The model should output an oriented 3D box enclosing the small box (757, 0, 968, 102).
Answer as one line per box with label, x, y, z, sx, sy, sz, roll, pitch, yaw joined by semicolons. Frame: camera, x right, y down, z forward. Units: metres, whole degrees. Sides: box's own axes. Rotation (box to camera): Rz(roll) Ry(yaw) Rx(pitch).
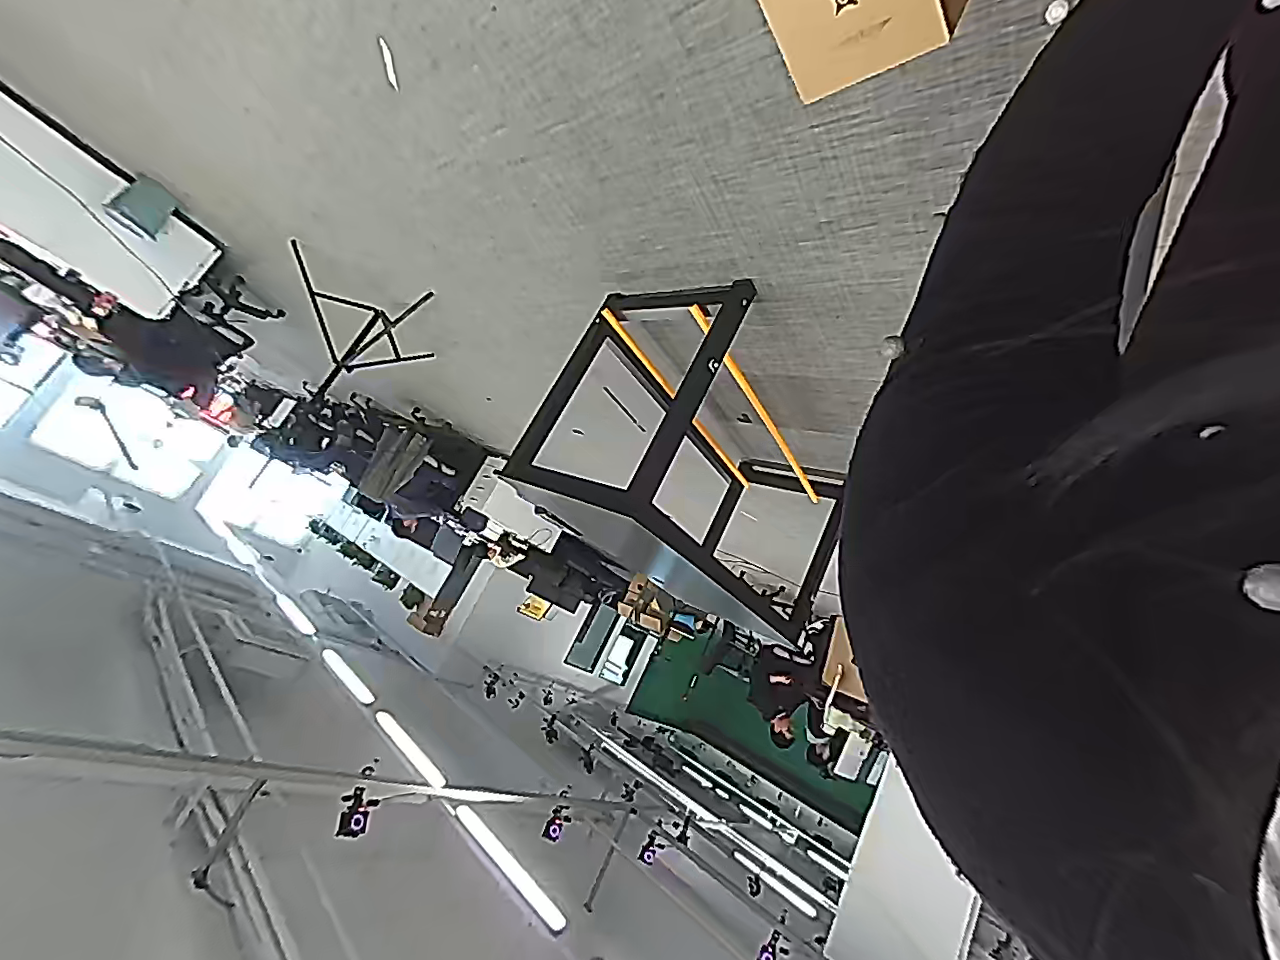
small box;0.235;-0.553;0.555;0.168;0.176;0.179;12;160;48
